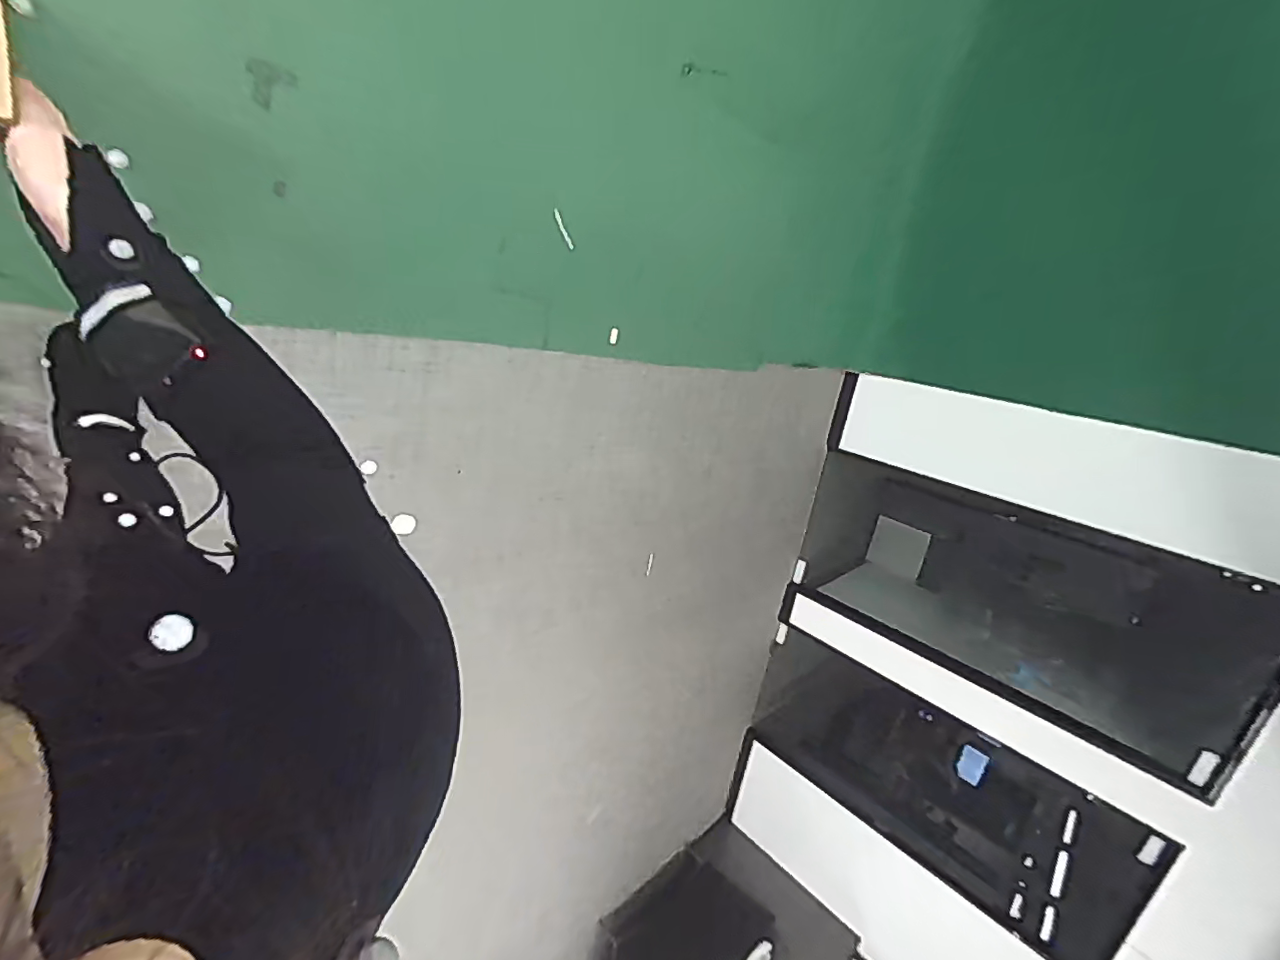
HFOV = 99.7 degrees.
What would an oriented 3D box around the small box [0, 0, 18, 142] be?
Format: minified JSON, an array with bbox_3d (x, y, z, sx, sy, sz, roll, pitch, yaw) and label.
[{"bbox_3d":[-0.485,-0.317,0.306,0.168,0.176,0.179,-6,116,-48],"label":"small box"}]
